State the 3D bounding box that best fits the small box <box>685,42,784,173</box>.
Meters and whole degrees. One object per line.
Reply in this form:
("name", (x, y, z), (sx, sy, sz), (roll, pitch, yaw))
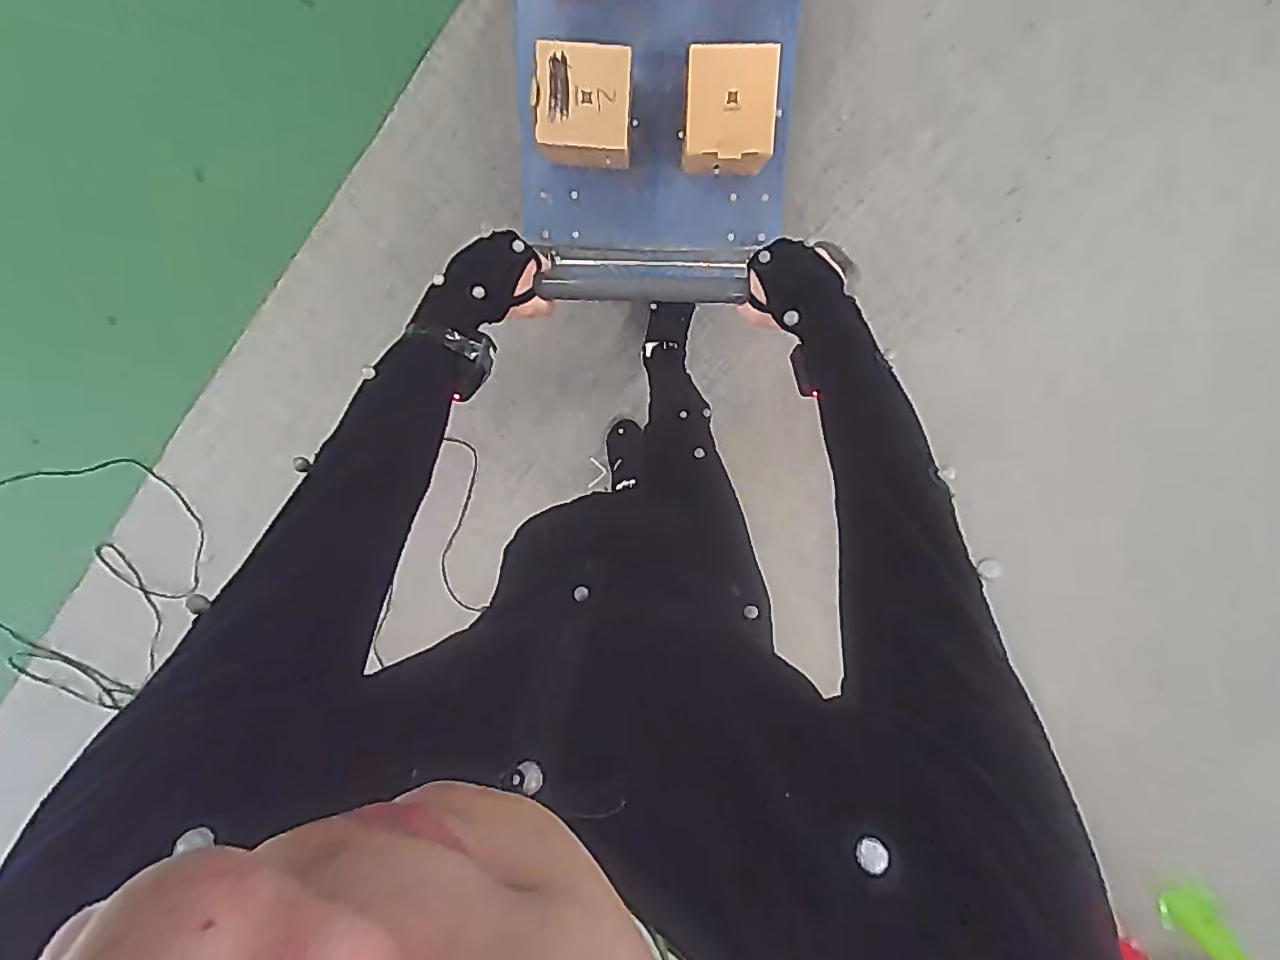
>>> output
("small box", (0.177, -0.724, 1.066), (0.168, 0.176, 0.179), (1, 109, 1))
